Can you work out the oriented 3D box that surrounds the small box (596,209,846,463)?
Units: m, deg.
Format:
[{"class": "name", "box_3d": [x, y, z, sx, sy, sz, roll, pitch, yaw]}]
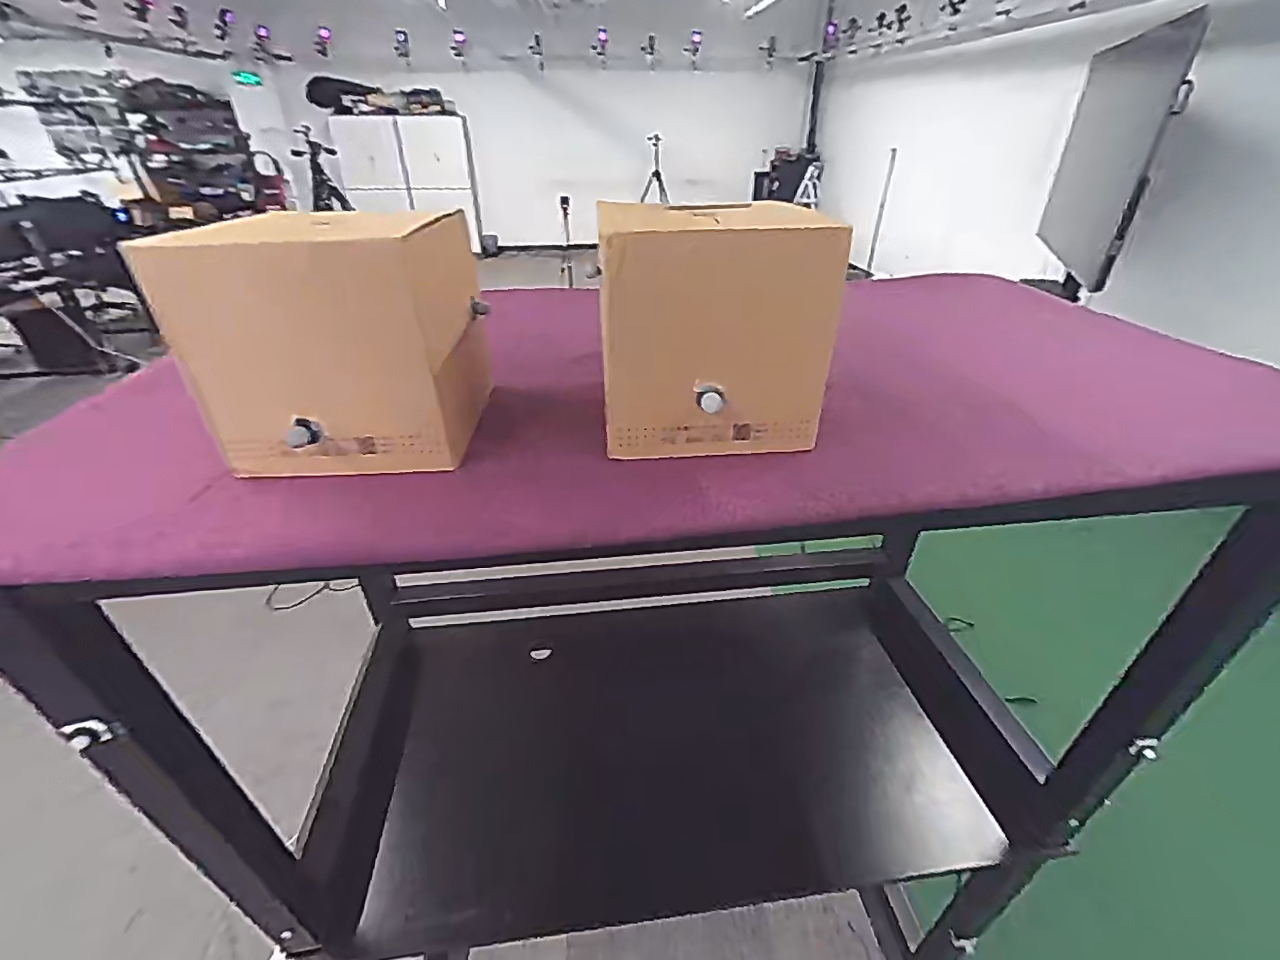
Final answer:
[{"class": "small box", "box_3d": [0.048, -0.128, 0.459, 0.168, 0.176, 0.179, -3, 33, -3]}]

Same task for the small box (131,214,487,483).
[{"class": "small box", "box_3d": [-0.229, -0.113, 0.438, 0.168, 0.176, 0.179, -3, 32, -2]}]
